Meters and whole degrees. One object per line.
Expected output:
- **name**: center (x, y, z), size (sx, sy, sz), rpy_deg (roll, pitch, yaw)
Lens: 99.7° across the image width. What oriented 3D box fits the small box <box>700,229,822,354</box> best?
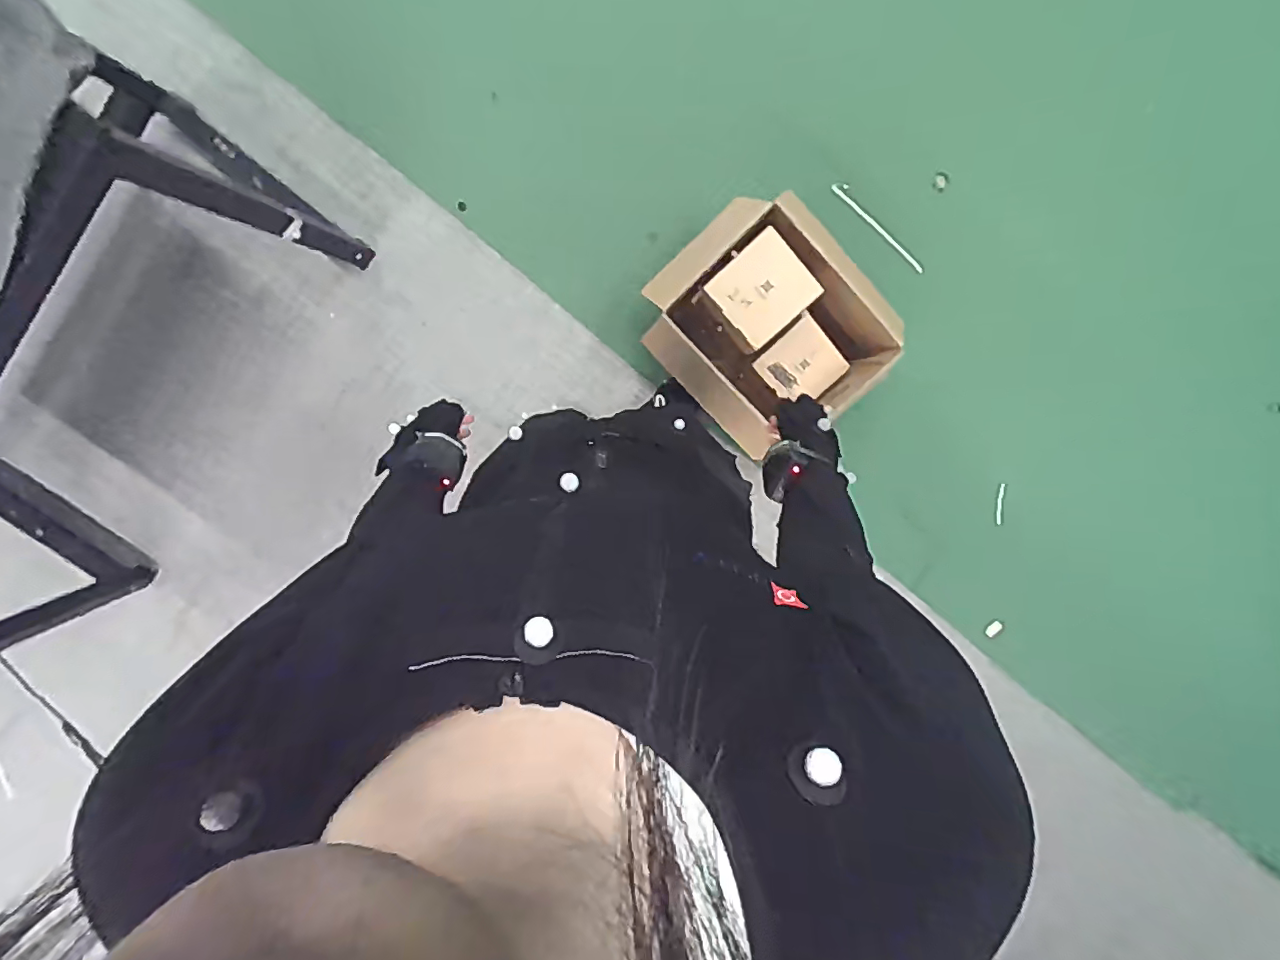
- **small box**: center (0.243, -0.385, 1.139), size (0.179, 0.176, 0.168), rpy_deg (-41, 96, 8)
